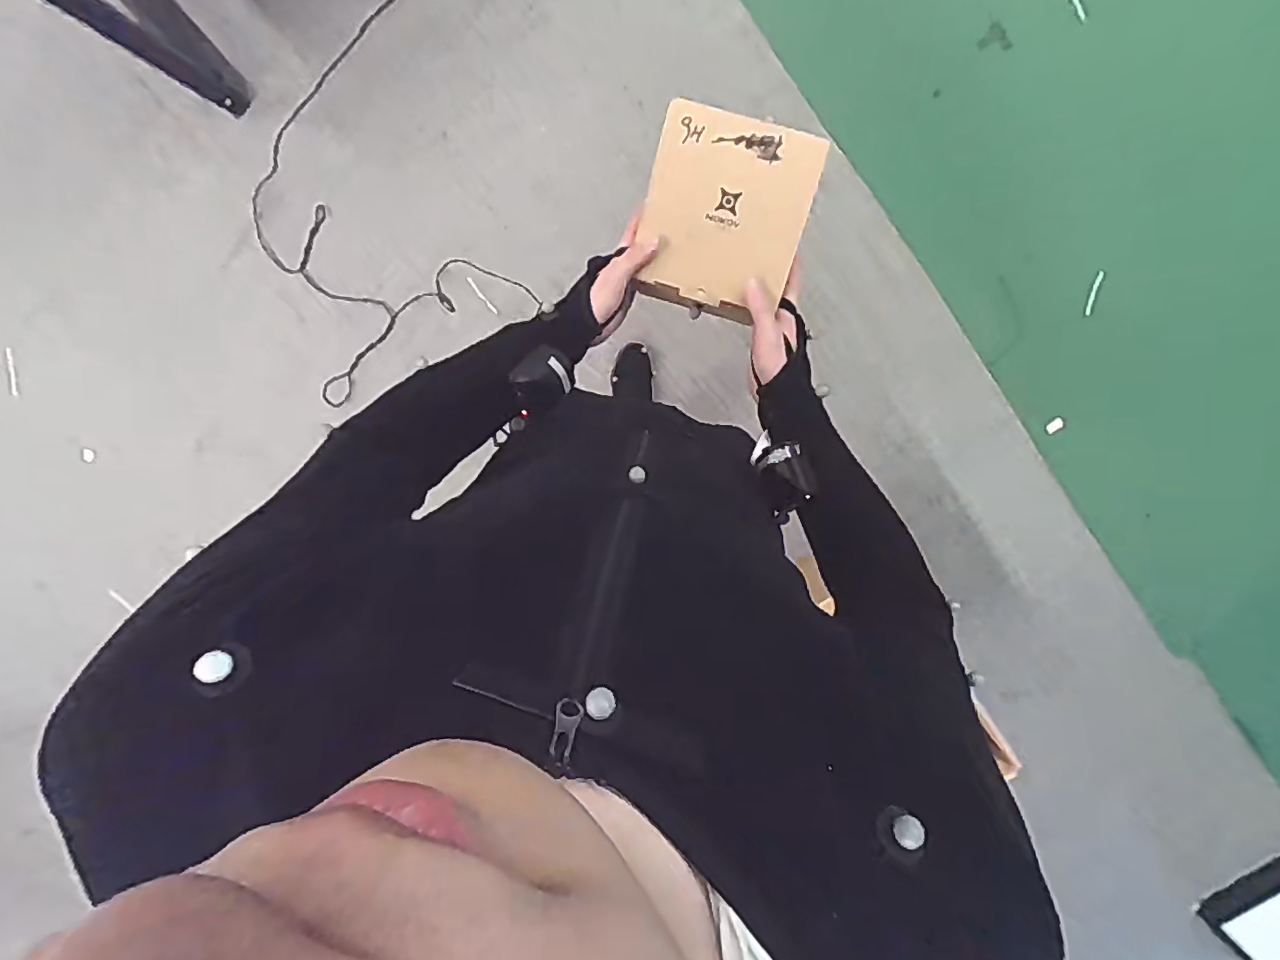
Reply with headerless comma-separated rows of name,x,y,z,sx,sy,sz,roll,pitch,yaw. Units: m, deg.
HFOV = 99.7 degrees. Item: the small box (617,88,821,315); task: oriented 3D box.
small box,0.083,-0.296,0.619,0.168,0.176,0.179,16,105,0
